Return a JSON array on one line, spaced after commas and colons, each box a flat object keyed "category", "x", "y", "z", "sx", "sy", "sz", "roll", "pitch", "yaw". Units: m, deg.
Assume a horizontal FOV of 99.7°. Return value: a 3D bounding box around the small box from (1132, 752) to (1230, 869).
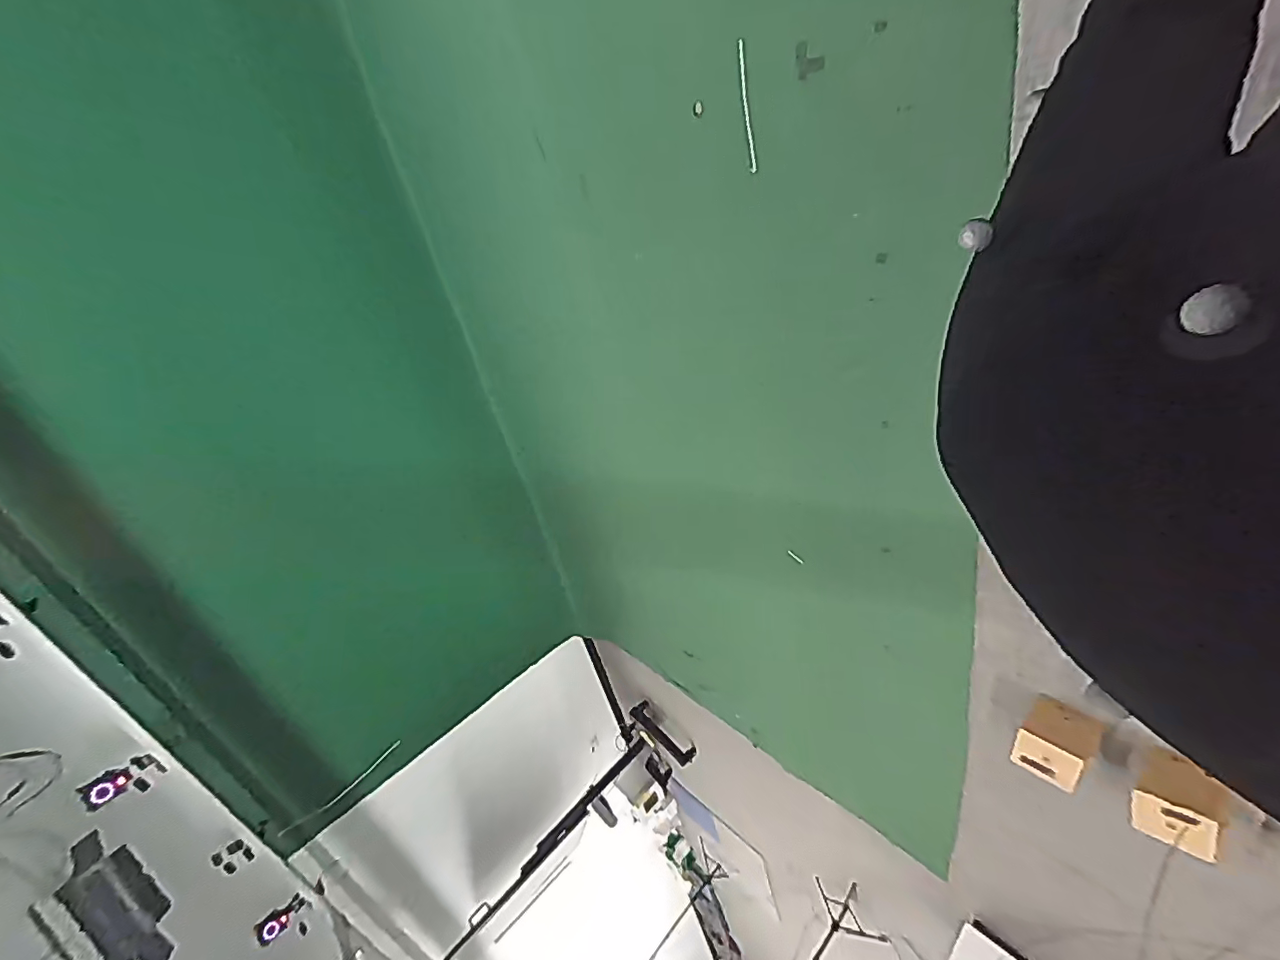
[{"category": "small box", "x": 1.475, "y": 0.891, "z": 1.476, "sx": 0.168, "sy": 0.176, "sz": 0.179, "roll": 9, "pitch": 126, "yaw": 52}]
